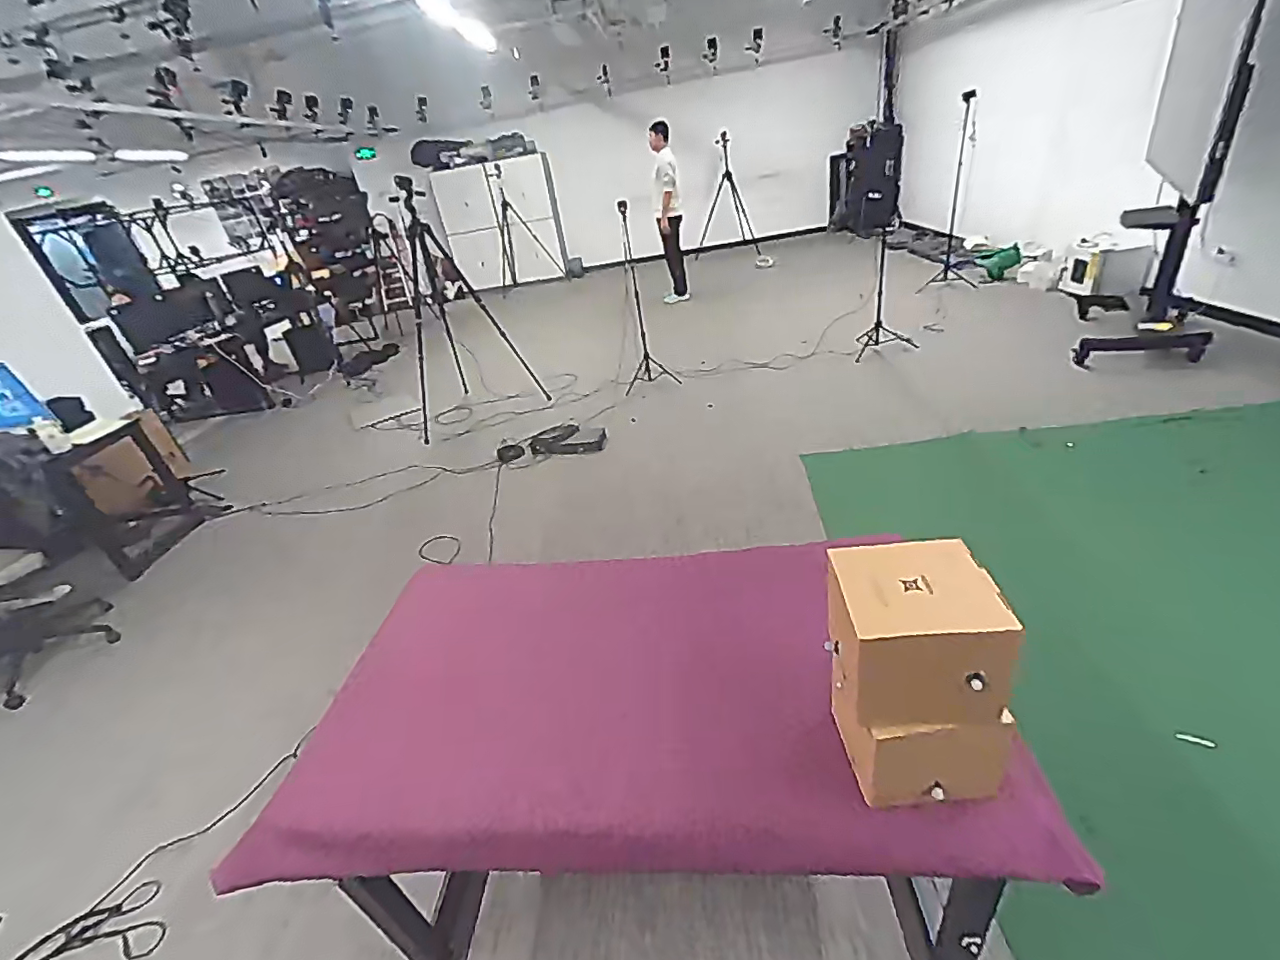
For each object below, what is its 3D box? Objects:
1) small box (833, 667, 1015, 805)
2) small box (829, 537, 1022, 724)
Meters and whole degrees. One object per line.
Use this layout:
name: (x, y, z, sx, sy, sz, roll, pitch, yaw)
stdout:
small box: (0.390, 0.337, 0.779, 0.179, 0.176, 0.168, -9, 30, 4)
small box: (0.351, 0.196, 0.705, 0.179, 0.176, 0.168, -7, 31, 10)
